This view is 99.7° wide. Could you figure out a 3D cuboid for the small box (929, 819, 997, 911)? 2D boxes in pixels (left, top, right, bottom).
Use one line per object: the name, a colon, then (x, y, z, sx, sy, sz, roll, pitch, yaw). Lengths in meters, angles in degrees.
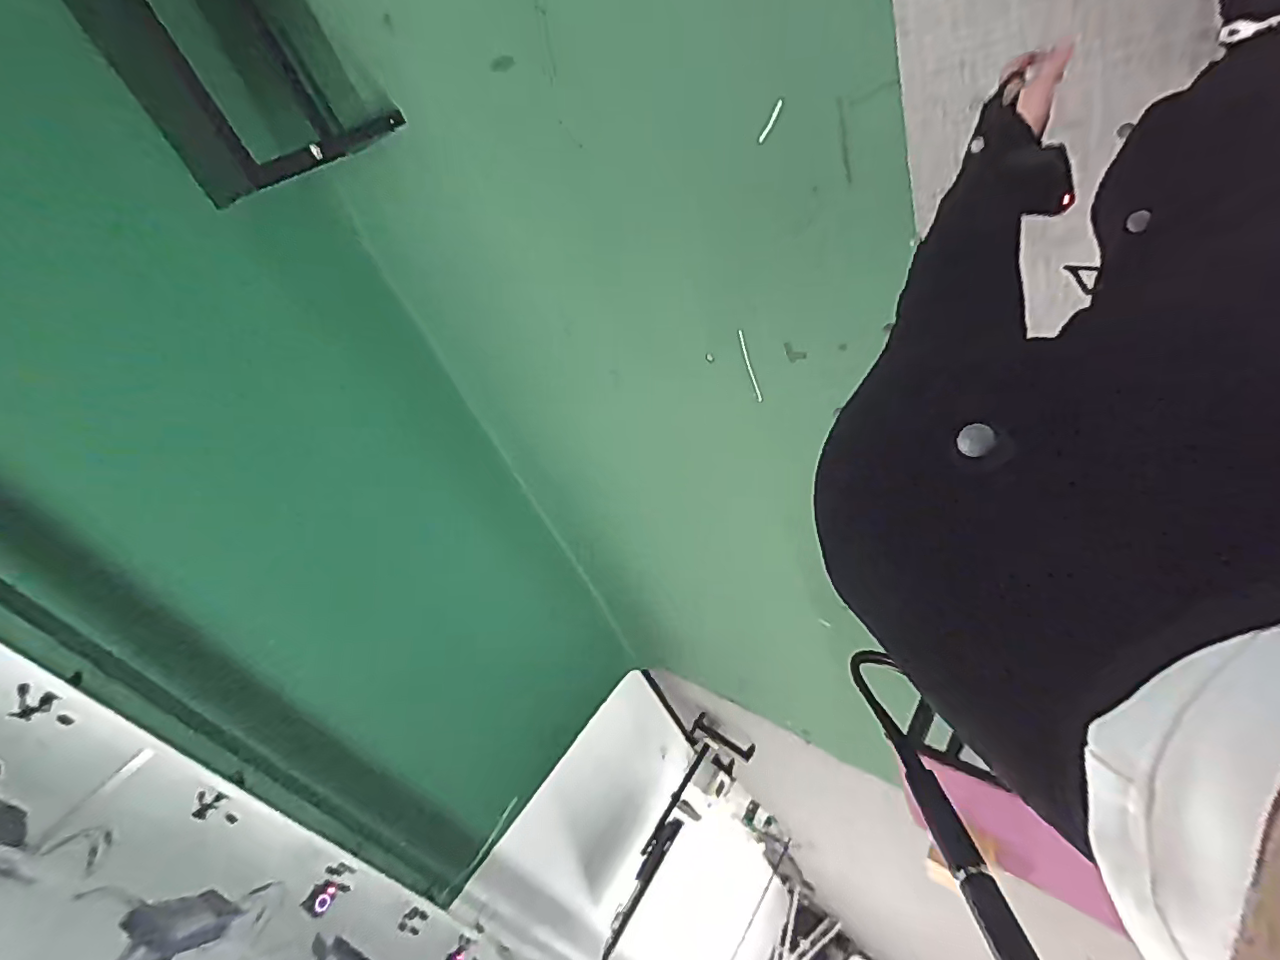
small box: (1.121, 1.327, 1.871, 0.168, 0.176, 0.179, 11, 137, 43)
